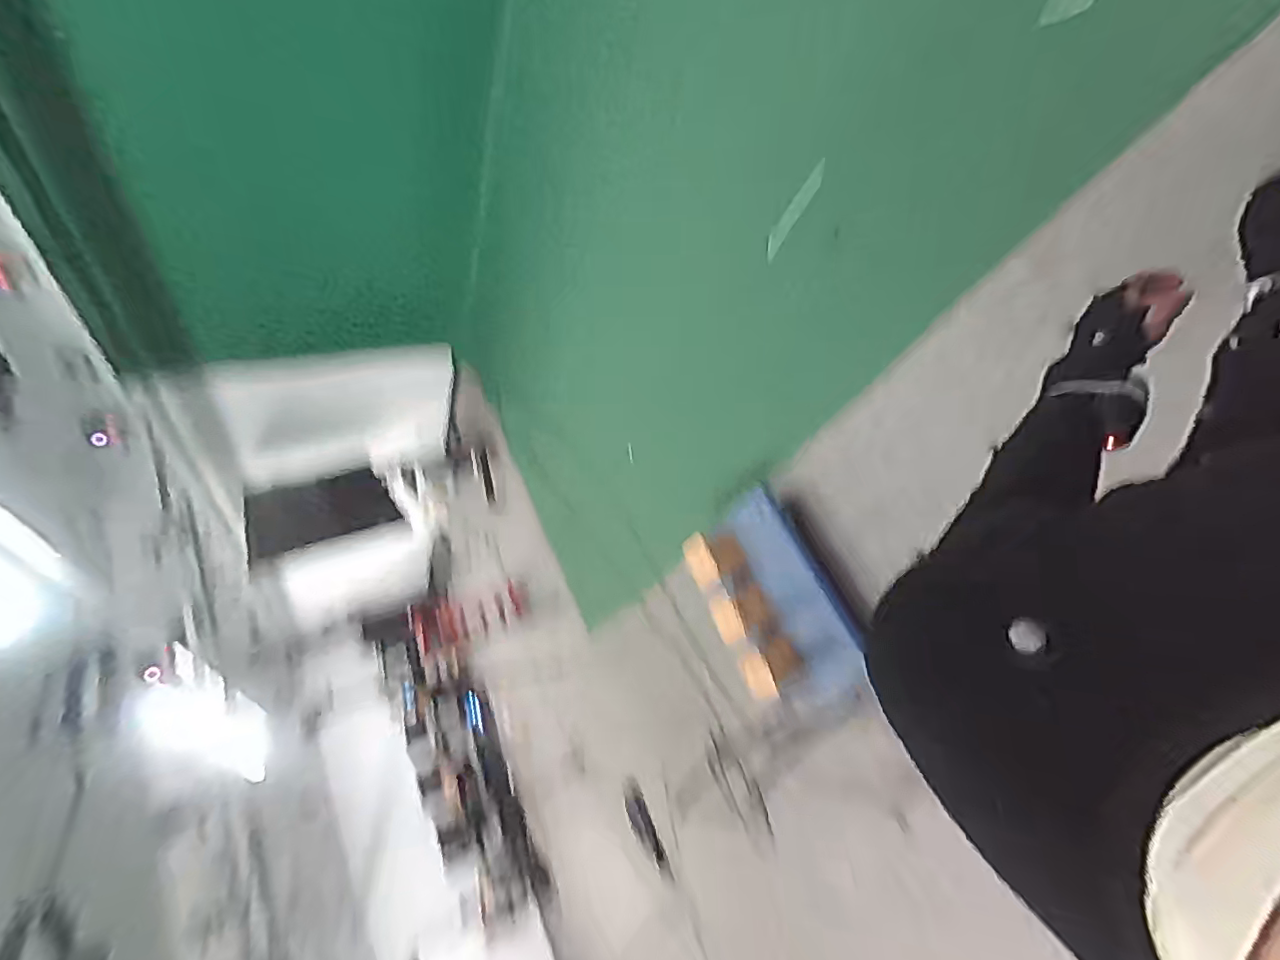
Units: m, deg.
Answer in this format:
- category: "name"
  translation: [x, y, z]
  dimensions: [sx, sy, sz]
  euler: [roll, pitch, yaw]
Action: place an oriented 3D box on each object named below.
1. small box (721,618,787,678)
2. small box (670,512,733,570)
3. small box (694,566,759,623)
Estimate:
- category: "small box"
  translation: [0.470, 0.680, 2.195]
  dimensions: [0.168, 0.176, 0.179]
  euler: [63, 145, 16]
- category: "small box"
  translation: [0.266, 0.258, 2.307]
  dimensions: [0.179, 0.176, 0.168]
  euler: [62, 145, 15]
- category: "small box"
  translation: [0.364, 0.479, 2.261]
  dimensions: [0.168, 0.176, 0.179]
  euler: [63, 146, 14]
